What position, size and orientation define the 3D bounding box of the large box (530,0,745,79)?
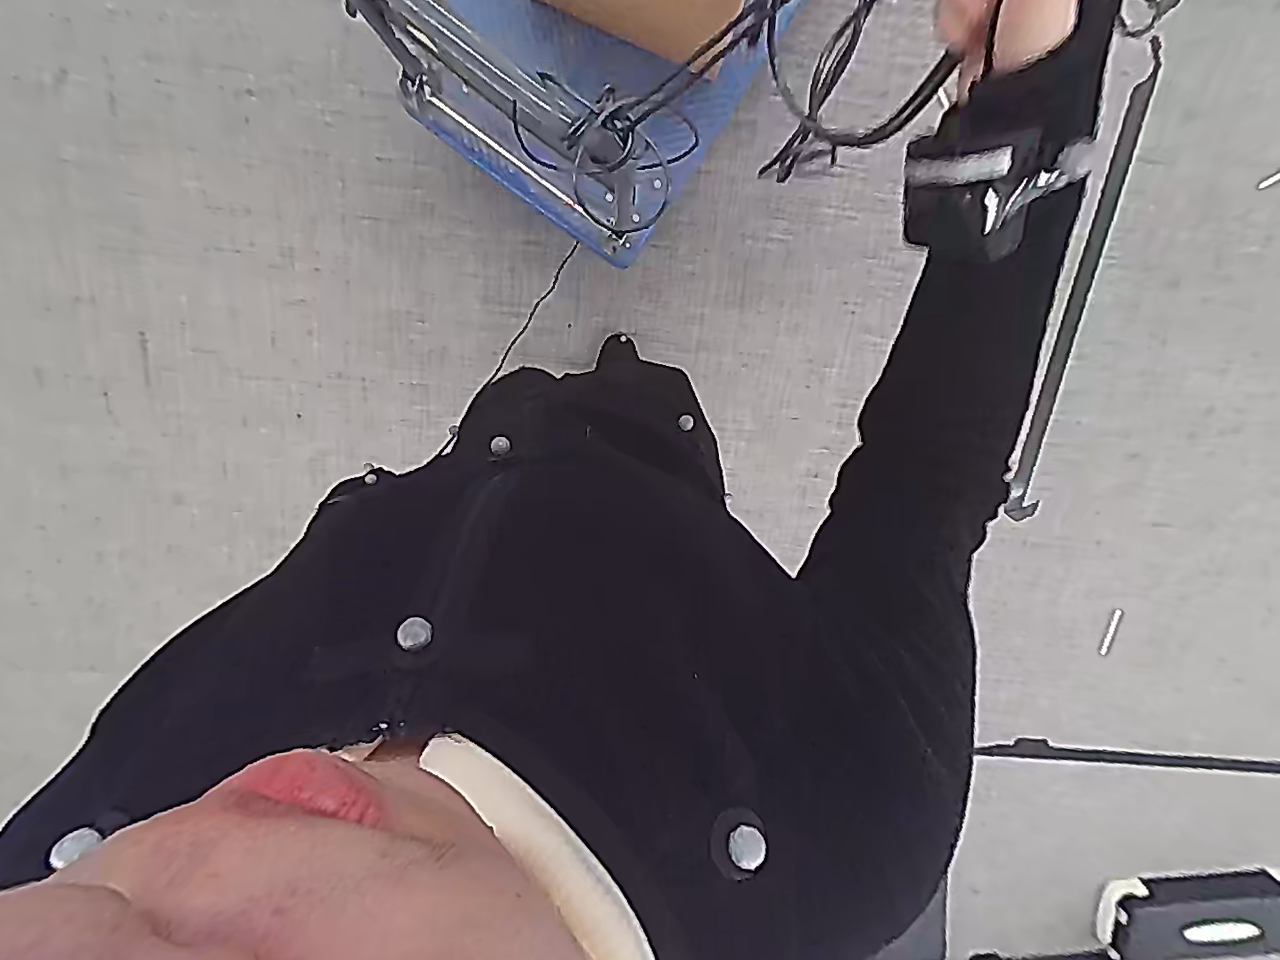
[{"bbox_3d":[0.018,-0.972,0.898,0.408,0.320,0.320,19,105,-7],"label":"large box"}]
